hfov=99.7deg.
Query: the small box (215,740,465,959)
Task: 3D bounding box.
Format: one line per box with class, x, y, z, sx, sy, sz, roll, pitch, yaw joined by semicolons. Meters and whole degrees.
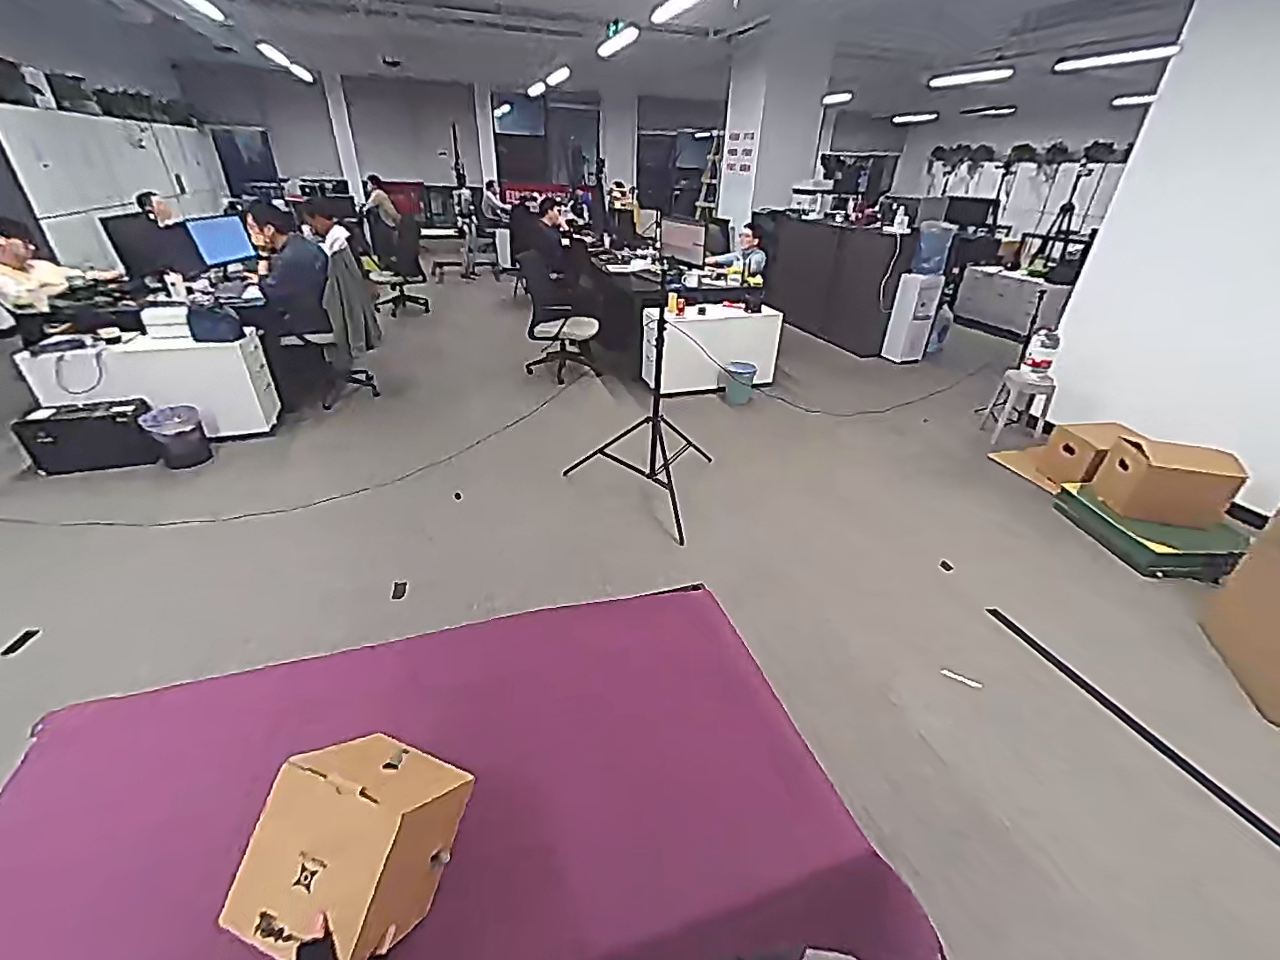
small box;-0.337;0.437;0.649;0.168;0.176;0.179;15;77;15
